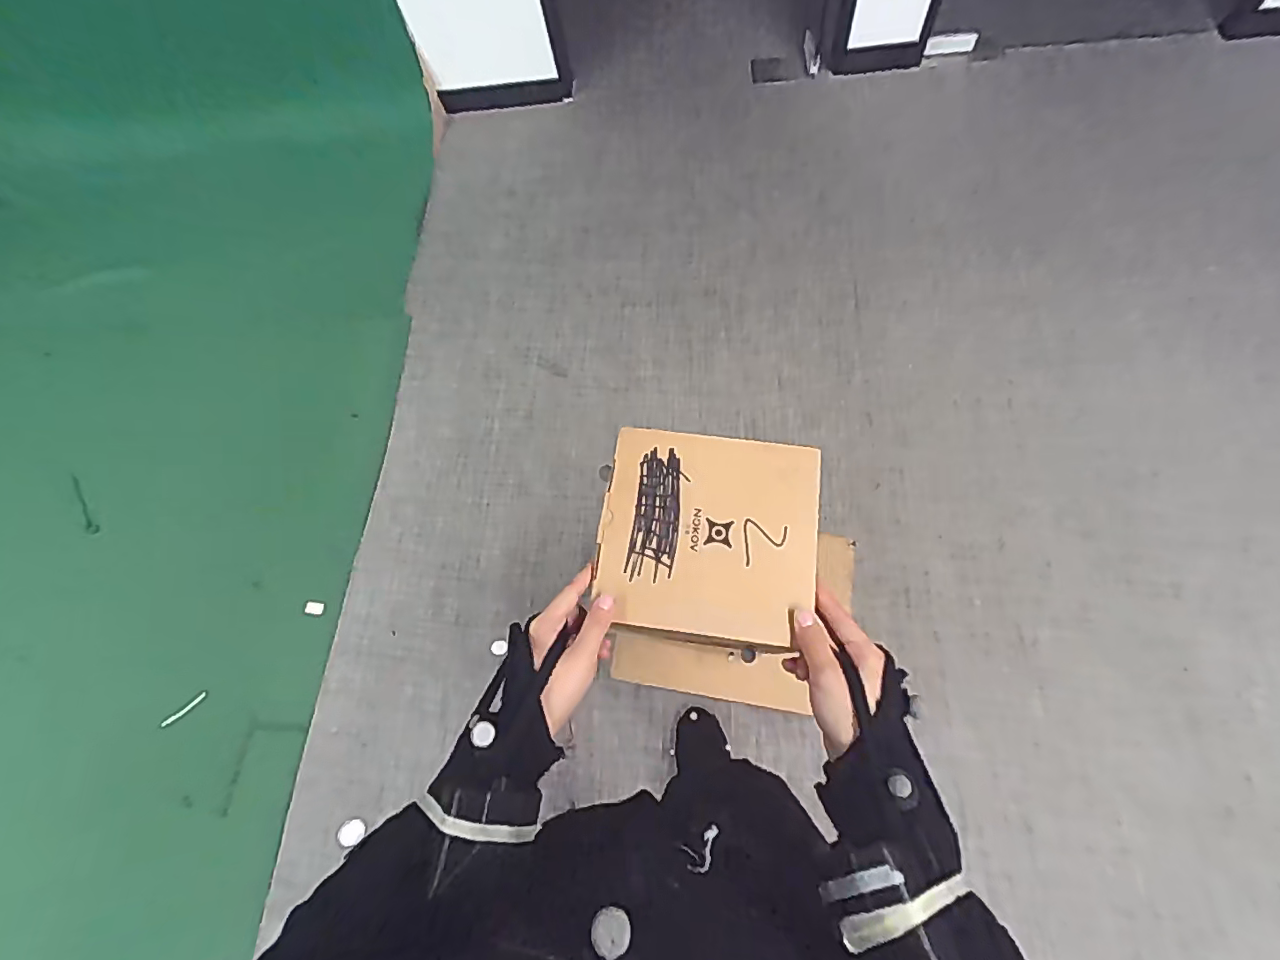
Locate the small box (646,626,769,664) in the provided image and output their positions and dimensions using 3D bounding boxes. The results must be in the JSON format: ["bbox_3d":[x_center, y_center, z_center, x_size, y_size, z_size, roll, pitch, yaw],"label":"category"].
[{"bbox_3d":[0.117,0.199,0.879,0.179,0.176,0.168,7,67,11],"label":"small box"}]

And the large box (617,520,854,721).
[{"bbox_3d":[0.186,0.289,1.097,0.408,0.320,0.320,6,70,8],"label":"large box"}]

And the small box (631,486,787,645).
[{"bbox_3d":[0.095,0.122,0.736,0.179,0.176,0.168,7,68,9],"label":"small box"}]
